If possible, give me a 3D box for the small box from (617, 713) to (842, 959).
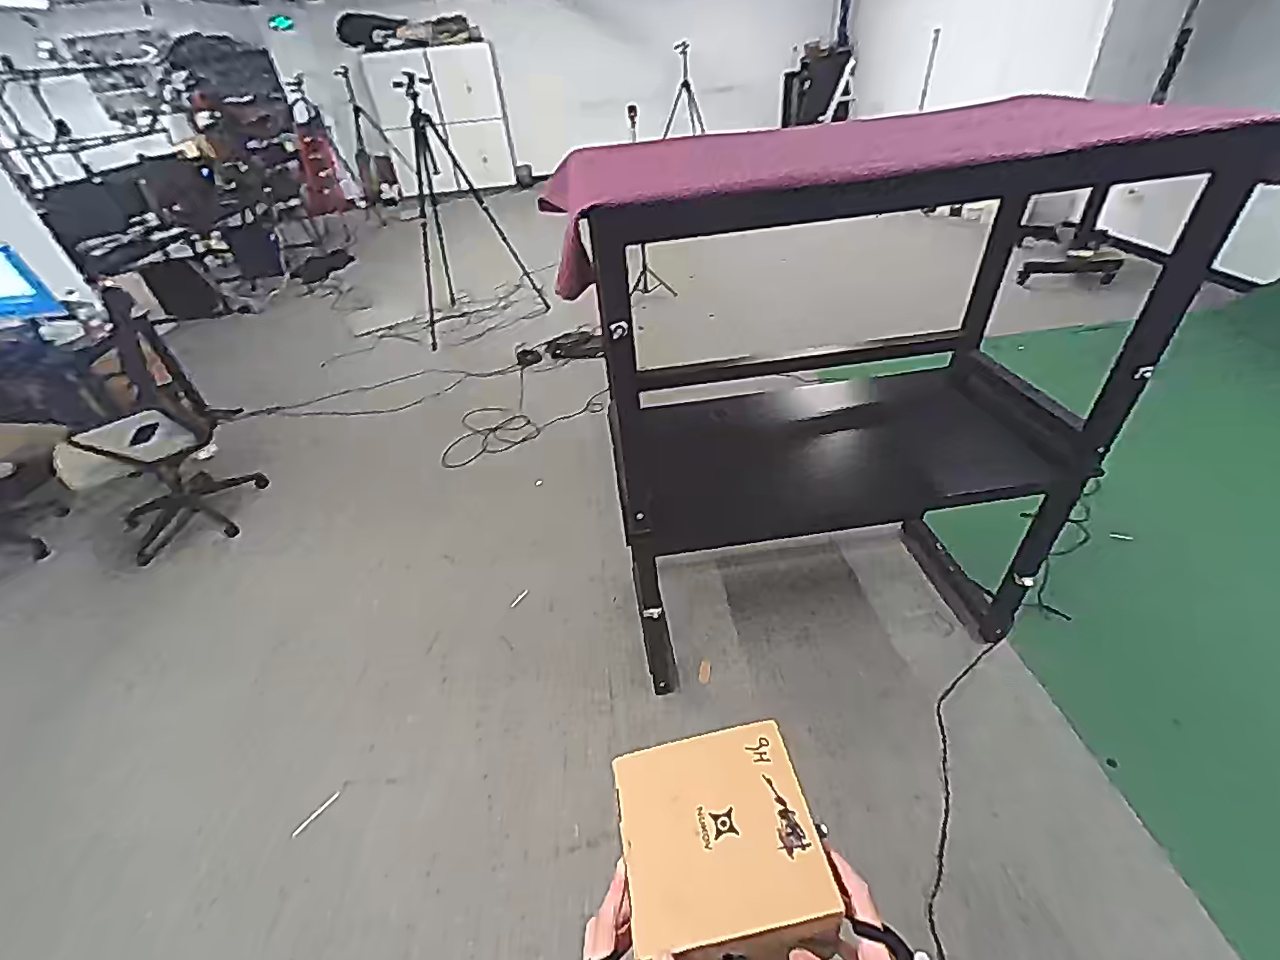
[{"bbox_3d":[0.085,0.369,0.543,0.179,0.176,0.168,-13,37,0],"label":"small box"}]
